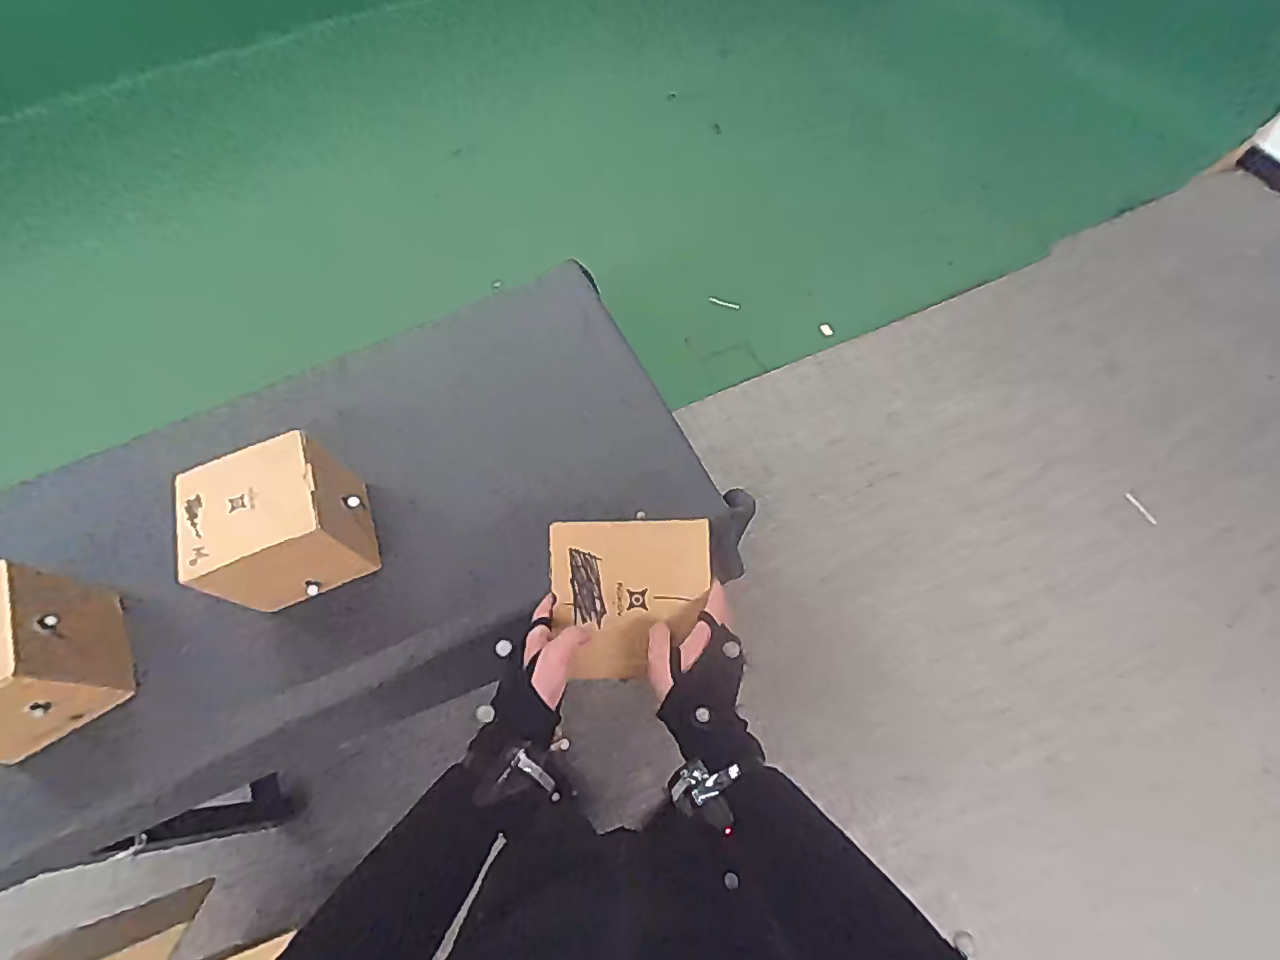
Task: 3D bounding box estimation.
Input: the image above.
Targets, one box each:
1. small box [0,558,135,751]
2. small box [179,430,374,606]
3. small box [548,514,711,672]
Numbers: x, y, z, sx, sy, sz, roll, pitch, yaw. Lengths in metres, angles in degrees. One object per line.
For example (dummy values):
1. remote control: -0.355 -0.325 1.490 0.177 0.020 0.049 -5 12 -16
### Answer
1. small box: -0.828 0.239 0.717 0.168 0.176 0.179 -31 64 -13
2. small box: -0.510 0.061 0.781 0.179 0.176 0.168 -22 64 -8
3. small box: -0.005 0.130 0.655 0.179 0.176 0.168 -1 83 4
